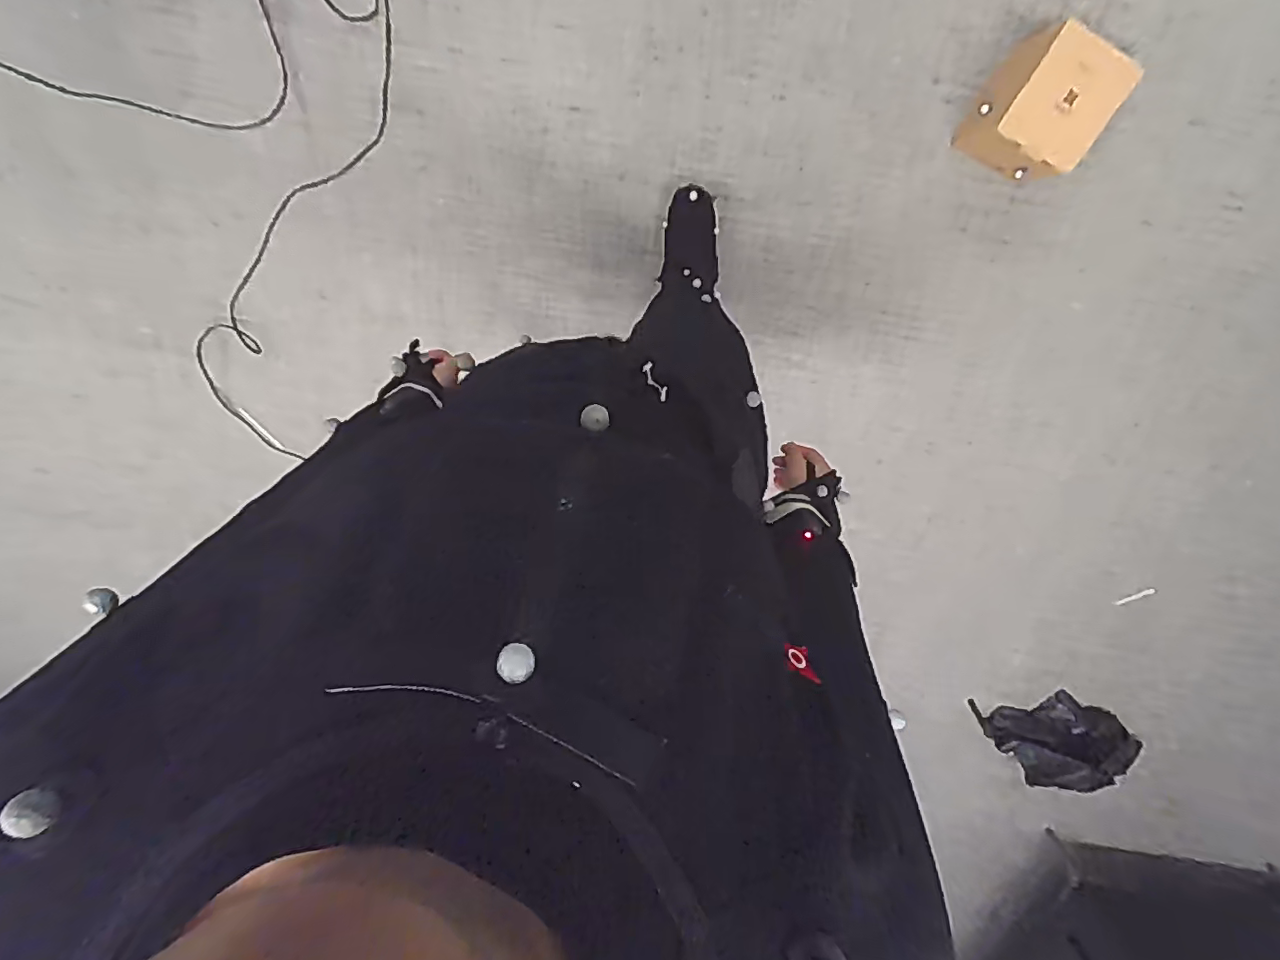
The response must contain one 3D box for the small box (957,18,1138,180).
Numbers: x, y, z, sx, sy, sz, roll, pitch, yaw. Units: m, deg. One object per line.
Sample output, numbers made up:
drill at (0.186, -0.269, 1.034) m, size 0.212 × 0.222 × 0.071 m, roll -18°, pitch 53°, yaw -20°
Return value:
small box at (0.724, -0.678, 0.993) m, size 0.168 × 0.176 × 0.179 m, roll 24°, pitch 112°, yaw -9°
